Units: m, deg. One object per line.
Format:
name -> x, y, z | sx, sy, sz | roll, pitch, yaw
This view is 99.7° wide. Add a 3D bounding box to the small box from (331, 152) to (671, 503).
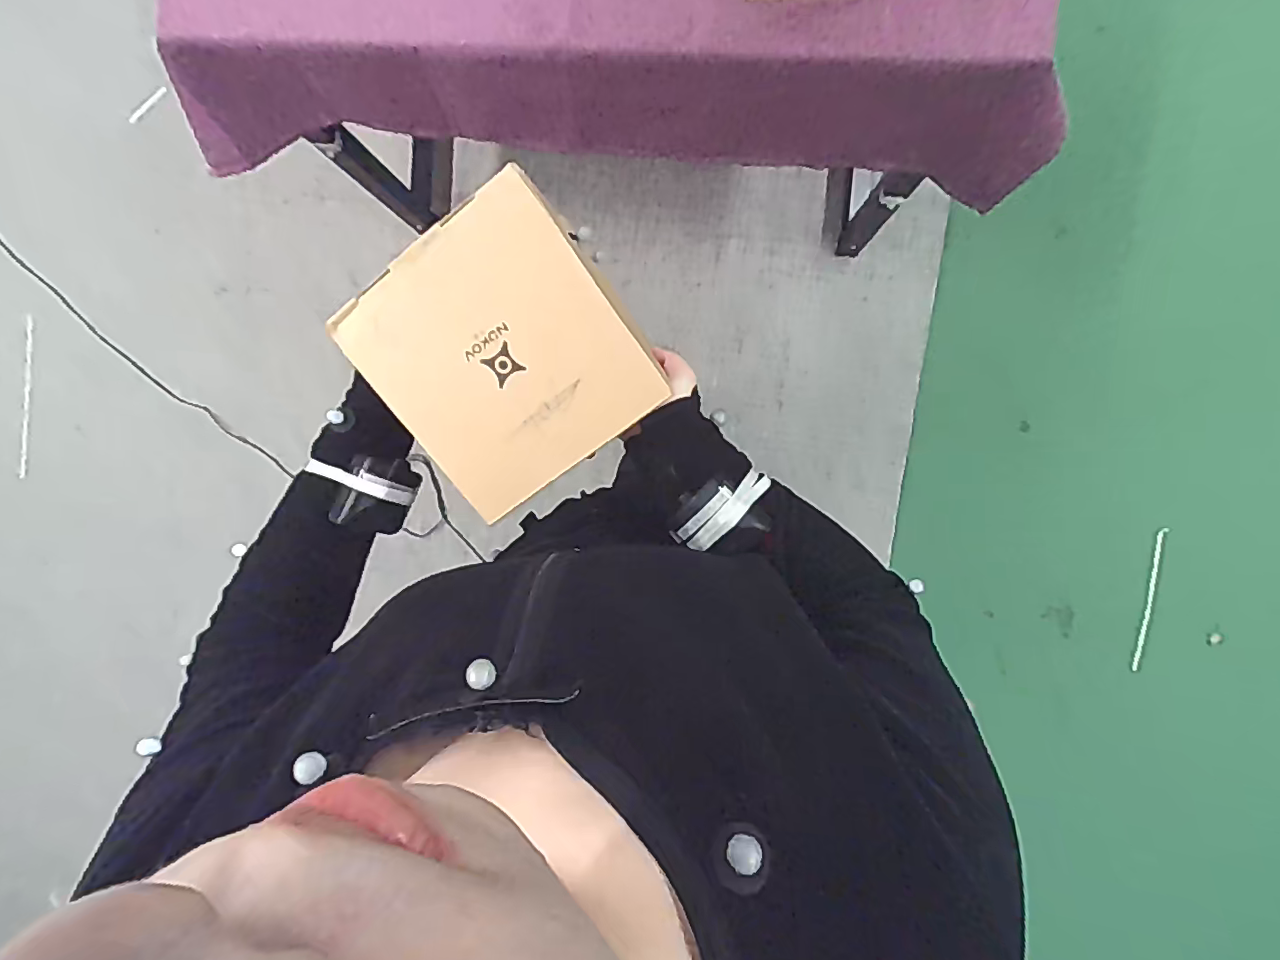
small box -> -0.092, -0.113, 0.440 | 0.168, 0.176, 0.179 | -34, 102, 10
